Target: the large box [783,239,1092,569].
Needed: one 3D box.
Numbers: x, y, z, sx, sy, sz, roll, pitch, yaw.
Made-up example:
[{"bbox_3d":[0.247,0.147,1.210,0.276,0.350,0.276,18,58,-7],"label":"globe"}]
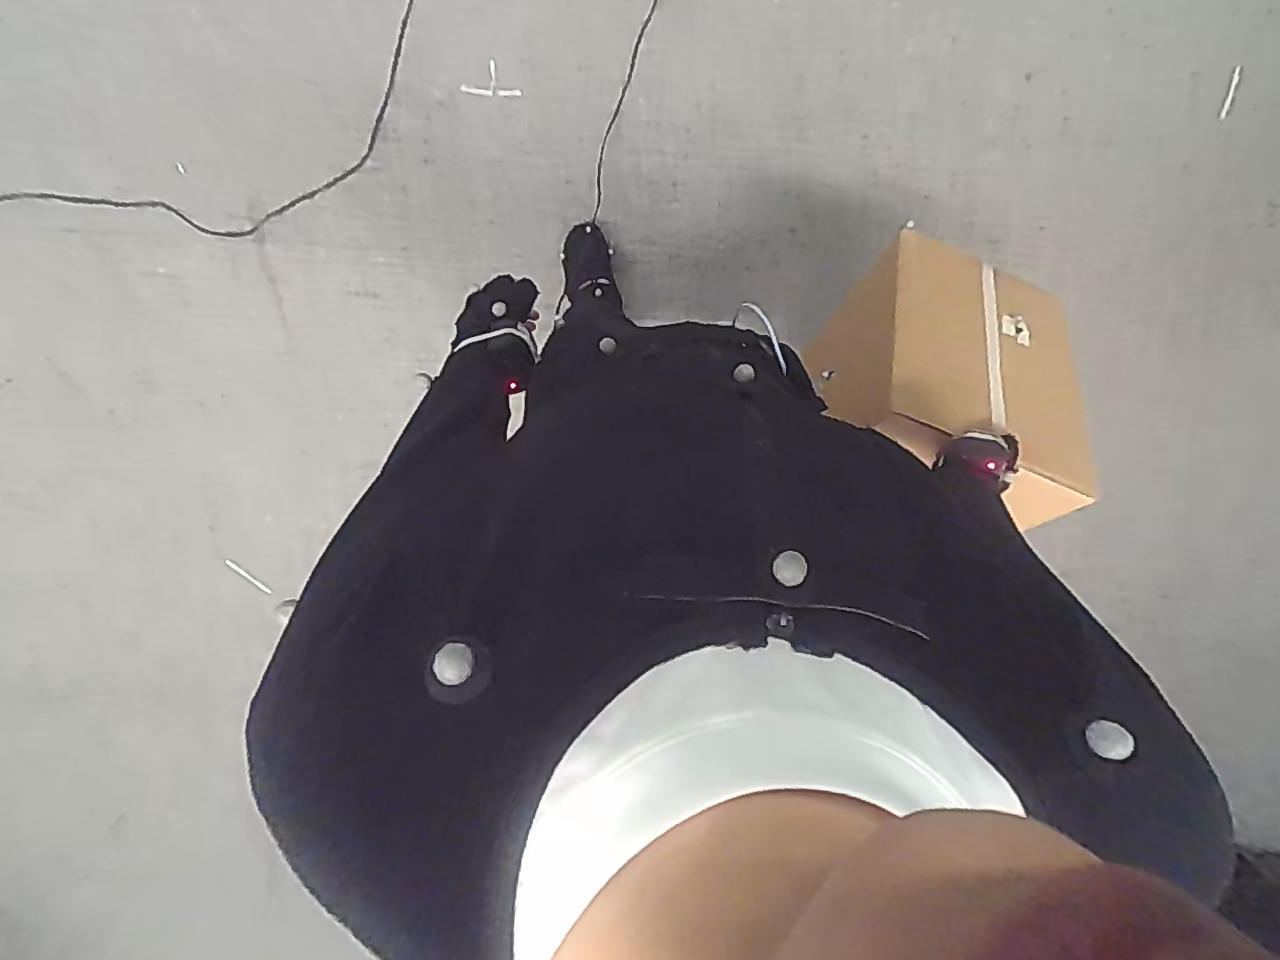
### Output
[{"bbox_3d":[0.473,-0.116,0.932,0.320,0.408,0.320,22,148,-6],"label":"large box"}]
